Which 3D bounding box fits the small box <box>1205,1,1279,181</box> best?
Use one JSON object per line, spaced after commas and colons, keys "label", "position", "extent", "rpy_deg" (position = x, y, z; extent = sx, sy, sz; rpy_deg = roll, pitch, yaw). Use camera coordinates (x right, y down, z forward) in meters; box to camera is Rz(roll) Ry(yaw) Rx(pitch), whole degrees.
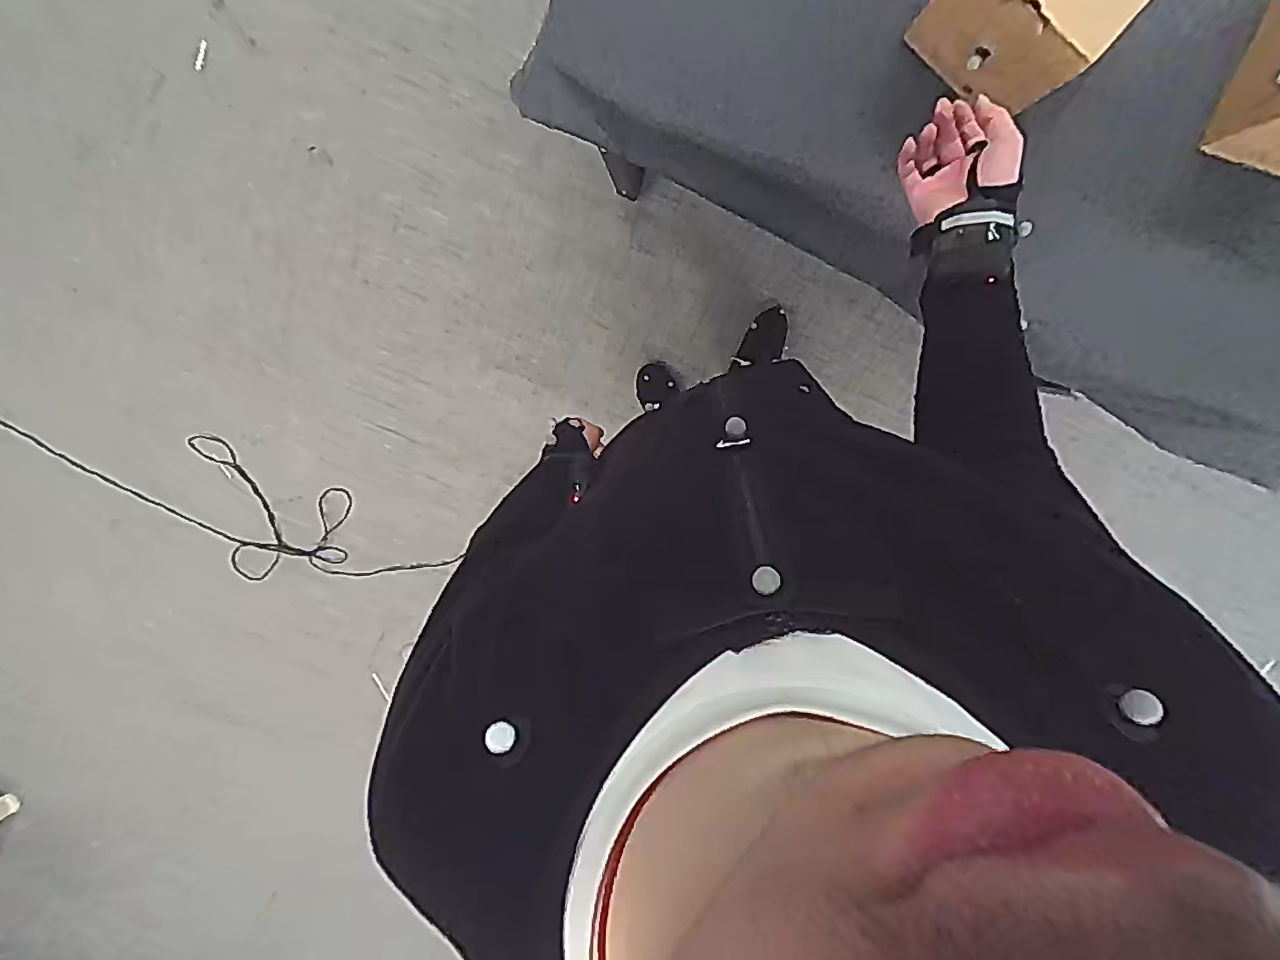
{"label": "small box", "position": [0.800, -0.449, 0.592], "extent": [0.168, 0.176, 0.179], "rpy_deg": [17, 104, -2]}

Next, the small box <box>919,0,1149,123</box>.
{"label": "small box", "position": [0.440, -0.541, 0.588], "extent": [0.168, 0.176, 0.179], "rpy_deg": [39, 104, -7]}
